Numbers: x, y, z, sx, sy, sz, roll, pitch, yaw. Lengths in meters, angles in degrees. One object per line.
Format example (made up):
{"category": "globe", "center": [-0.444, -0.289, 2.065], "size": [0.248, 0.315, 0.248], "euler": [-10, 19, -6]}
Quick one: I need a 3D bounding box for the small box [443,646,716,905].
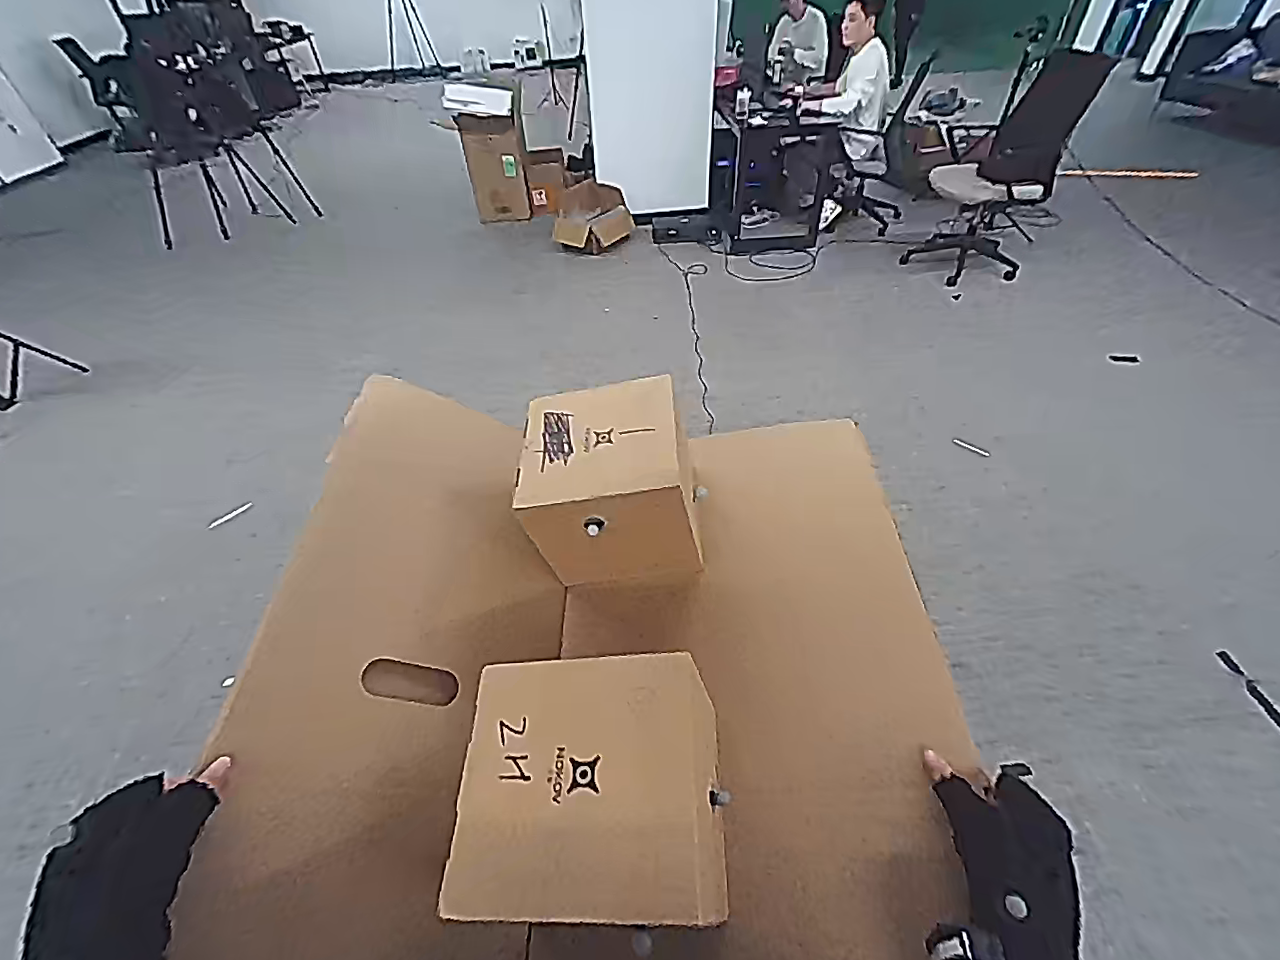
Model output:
{"category": "small box", "center": [-0.030, 0.254, 0.461], "size": [0.179, 0.176, 0.168], "euler": [-7, 51, 11]}

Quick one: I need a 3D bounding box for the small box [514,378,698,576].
{"category": "small box", "center": [-0.031, 0.005, 0.661], "size": [0.179, 0.176, 0.168], "euler": [-8, 51, 9]}
